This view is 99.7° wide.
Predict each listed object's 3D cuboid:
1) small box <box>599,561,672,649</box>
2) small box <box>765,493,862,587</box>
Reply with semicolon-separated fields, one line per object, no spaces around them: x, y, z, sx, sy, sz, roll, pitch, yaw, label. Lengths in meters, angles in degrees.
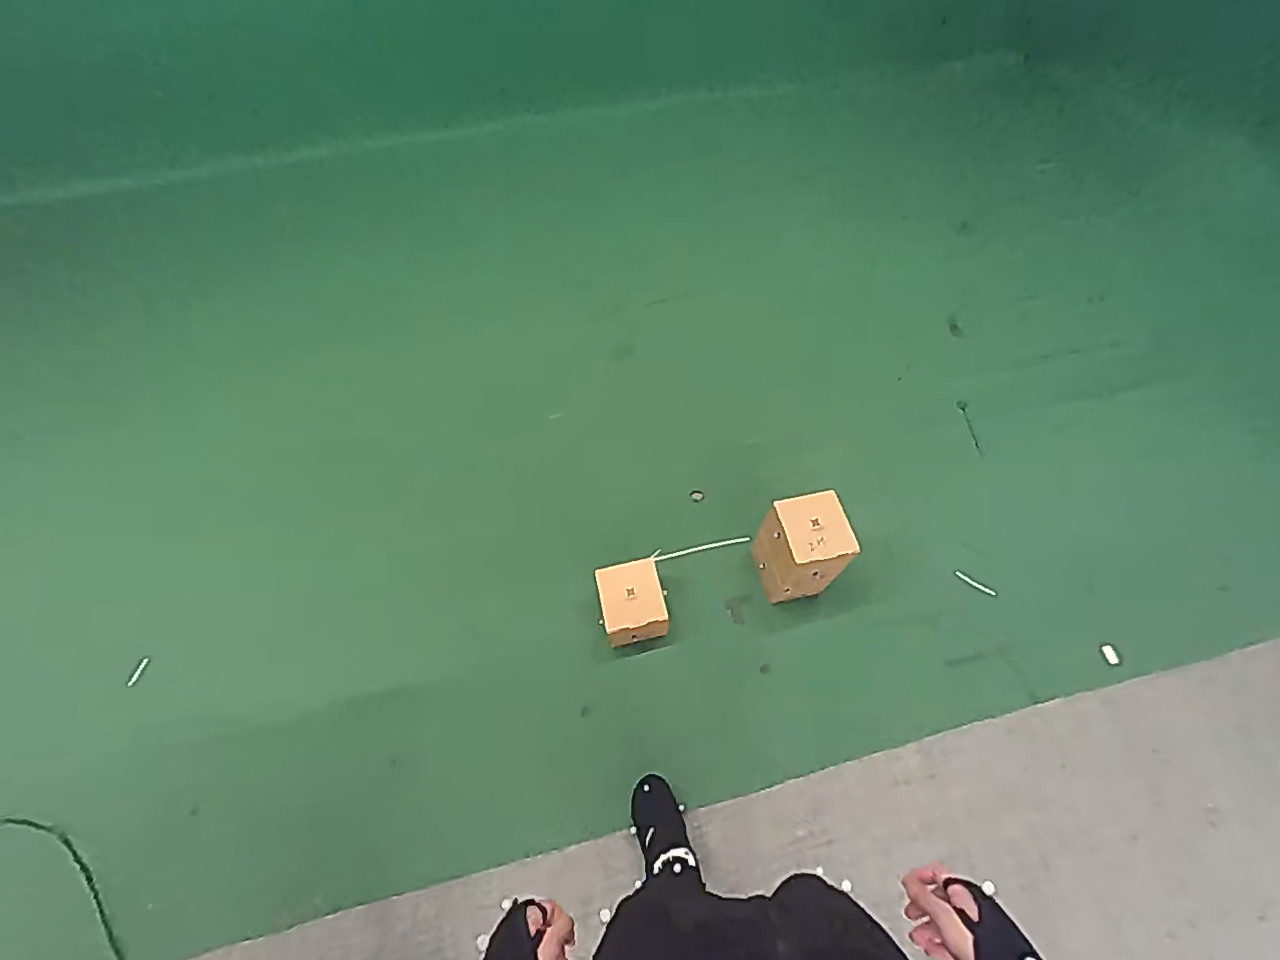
-0.016;0.349;1.496;0.168;0.176;0.179;-12;62;-6;small box
0.440;0.159;1.407;0.168;0.176;0.179;-11;62;-6;small box
